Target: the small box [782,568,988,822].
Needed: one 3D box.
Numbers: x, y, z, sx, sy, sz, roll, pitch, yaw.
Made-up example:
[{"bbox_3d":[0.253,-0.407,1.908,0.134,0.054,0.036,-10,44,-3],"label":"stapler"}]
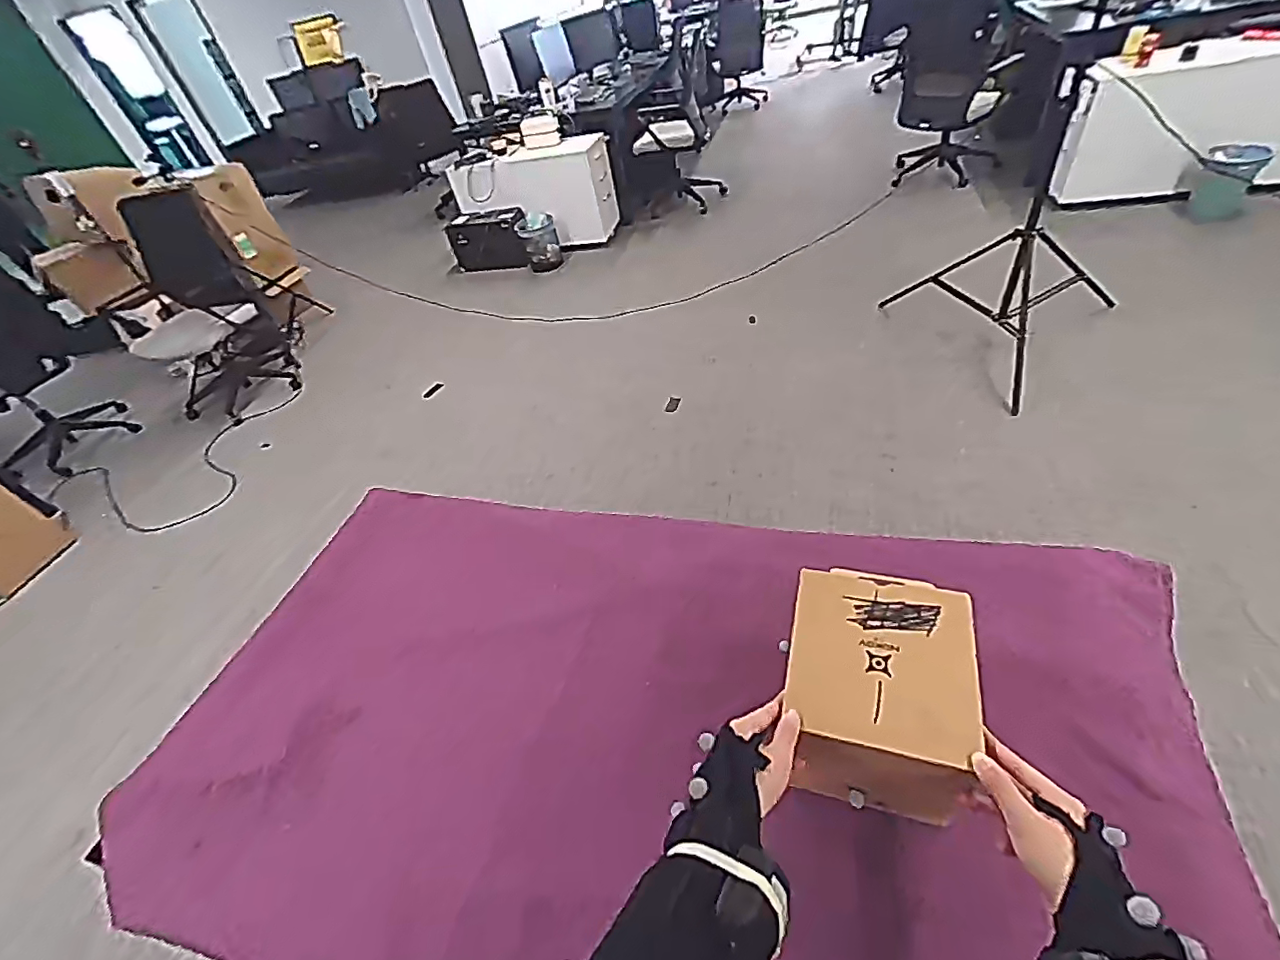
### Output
[{"bbox_3d":[0.244,0.222,0.569,0.168,0.176,0.179,6,47,20],"label":"small box"}]
